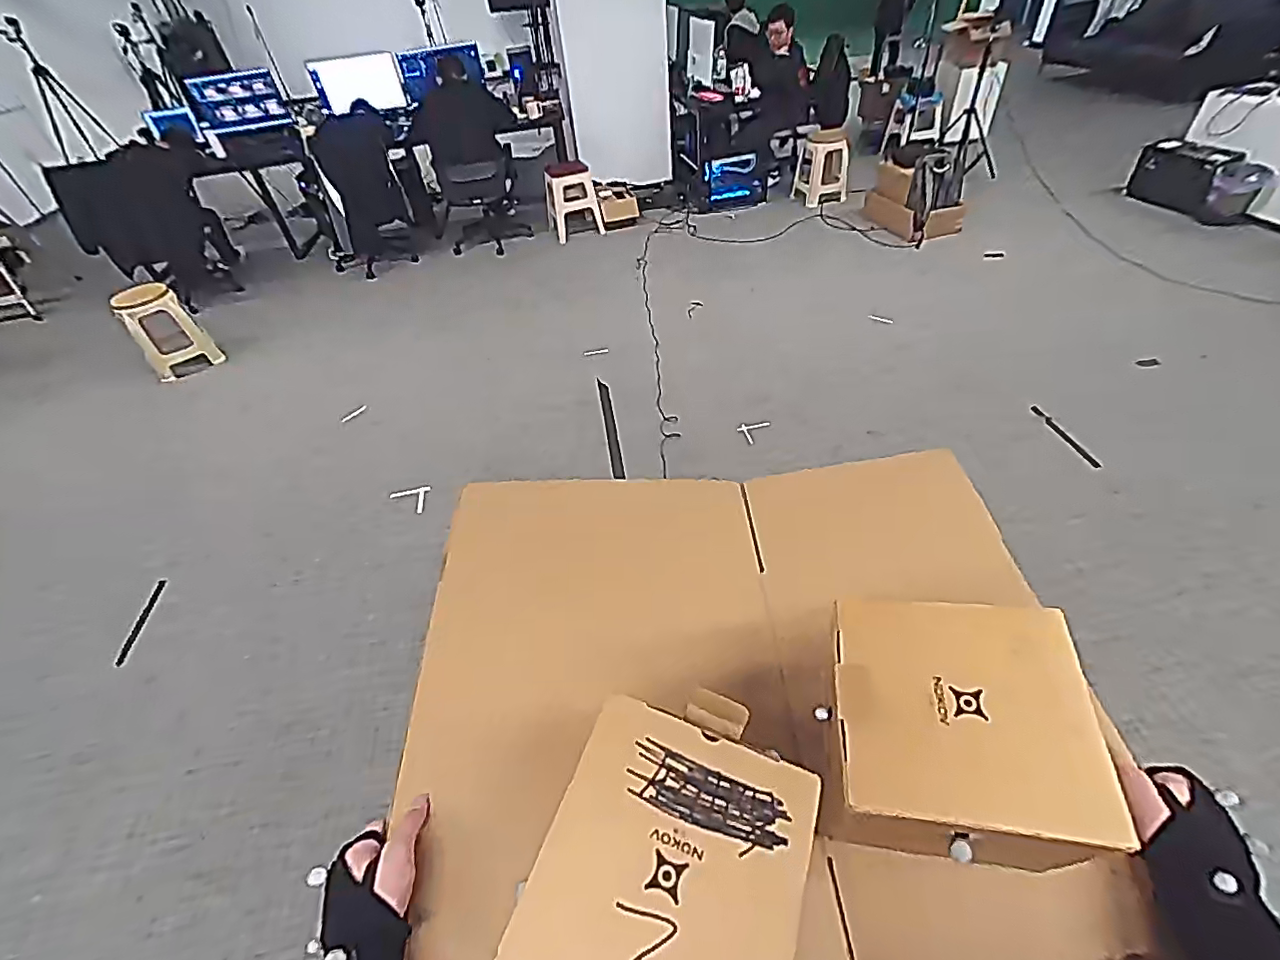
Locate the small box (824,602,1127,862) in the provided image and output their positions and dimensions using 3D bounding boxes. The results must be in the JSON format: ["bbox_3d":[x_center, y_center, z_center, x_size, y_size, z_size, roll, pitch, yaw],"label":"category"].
[{"bbox_3d":[0.263,0.225,0.480,0.179,0.176,0.168,0,51,15],"label":"small box"}]
